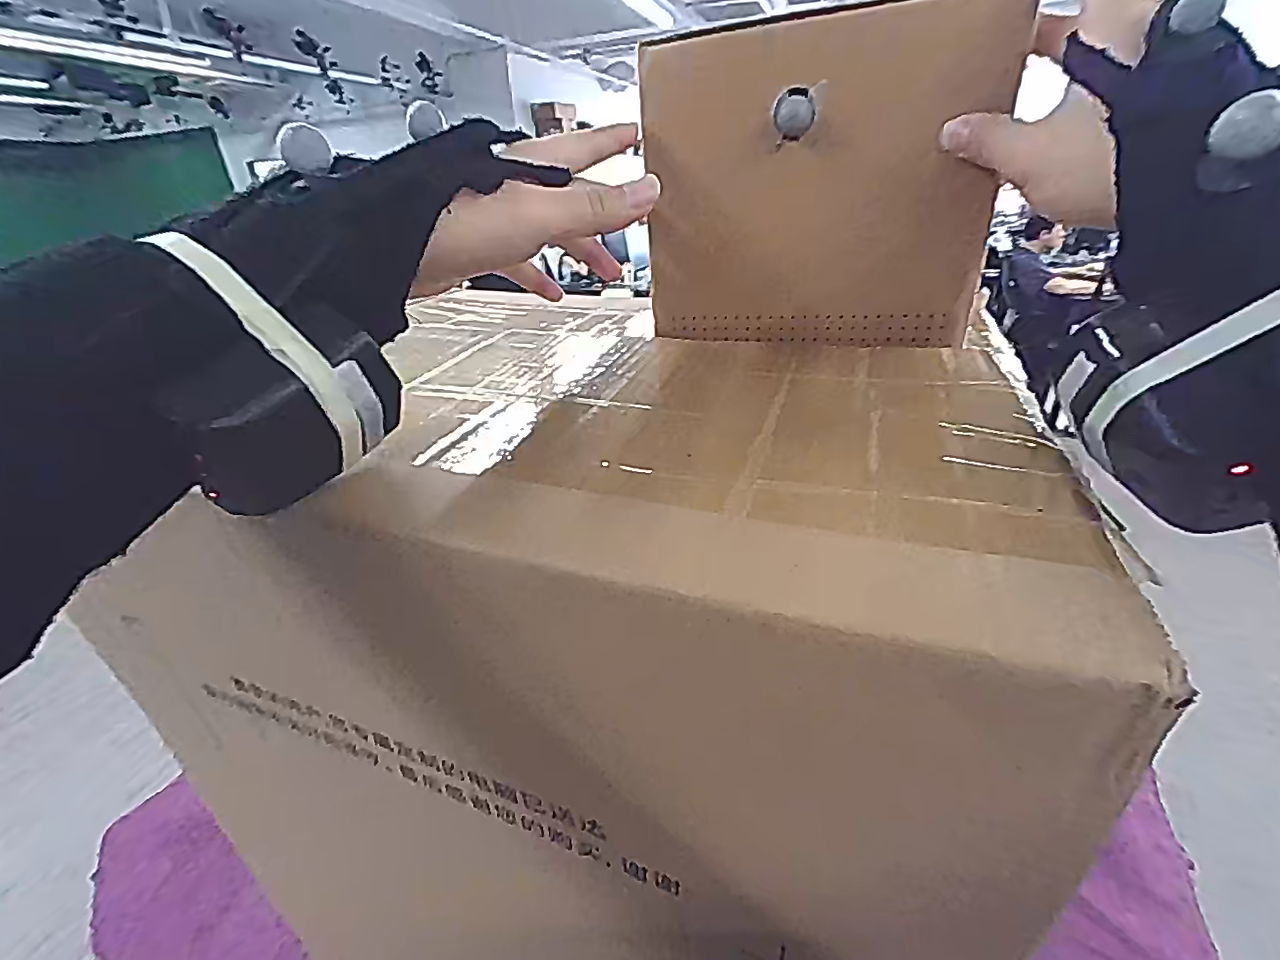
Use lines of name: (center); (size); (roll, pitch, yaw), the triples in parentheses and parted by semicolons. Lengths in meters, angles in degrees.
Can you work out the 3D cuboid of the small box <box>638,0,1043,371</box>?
small box: (0.111, -0.174, 0.346); (0.179, 0.176, 0.168); (4, 31, 18)
